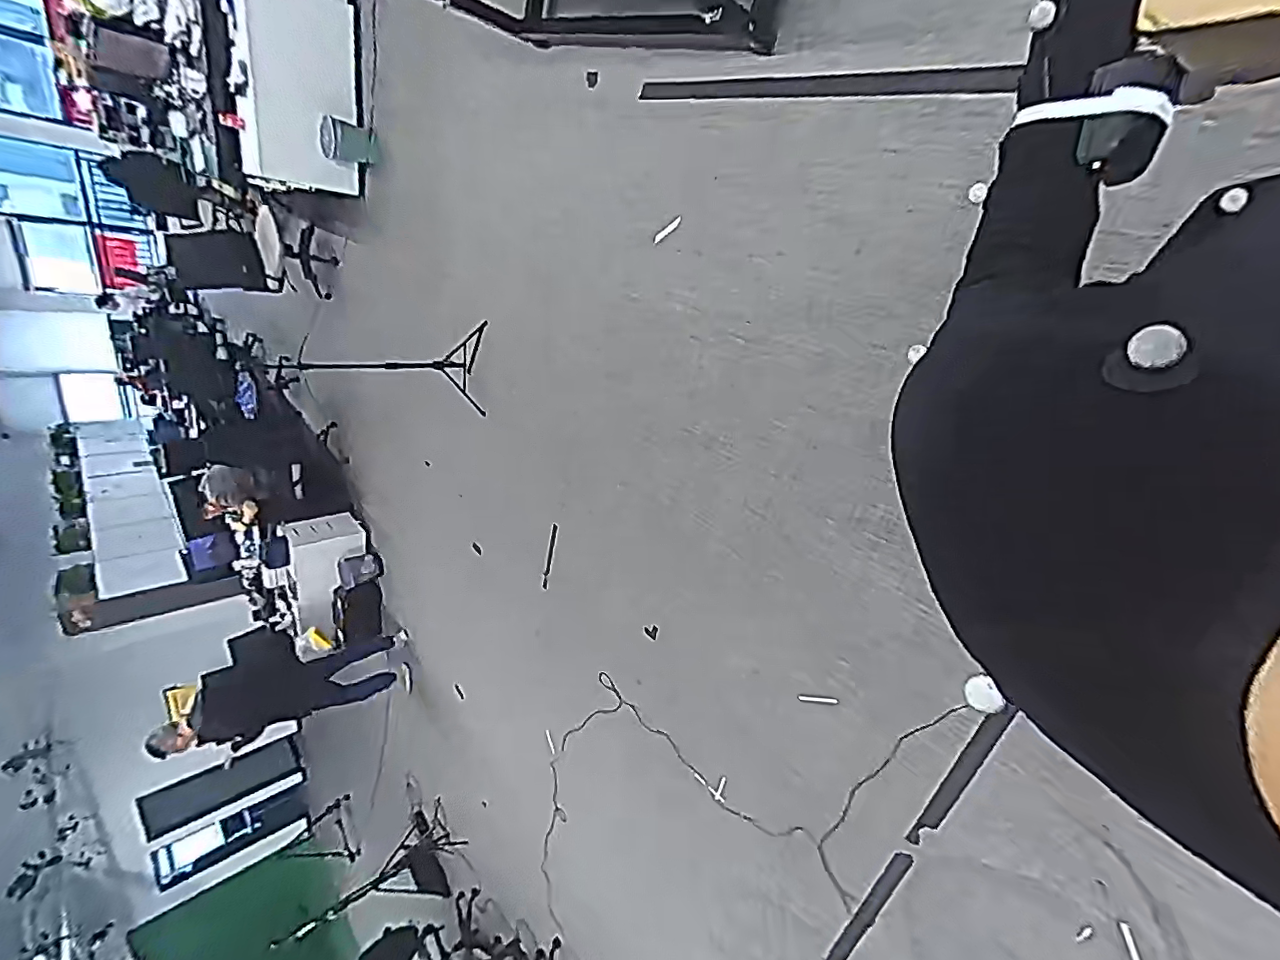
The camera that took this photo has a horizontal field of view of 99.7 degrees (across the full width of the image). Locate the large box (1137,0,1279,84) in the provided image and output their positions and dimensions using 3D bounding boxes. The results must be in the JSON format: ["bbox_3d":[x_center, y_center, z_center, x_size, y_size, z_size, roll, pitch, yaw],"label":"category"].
[{"bbox_3d":[0.565,-0.420,0.254,0.408,0.320,0.320,24,129,40],"label":"large box"}]
